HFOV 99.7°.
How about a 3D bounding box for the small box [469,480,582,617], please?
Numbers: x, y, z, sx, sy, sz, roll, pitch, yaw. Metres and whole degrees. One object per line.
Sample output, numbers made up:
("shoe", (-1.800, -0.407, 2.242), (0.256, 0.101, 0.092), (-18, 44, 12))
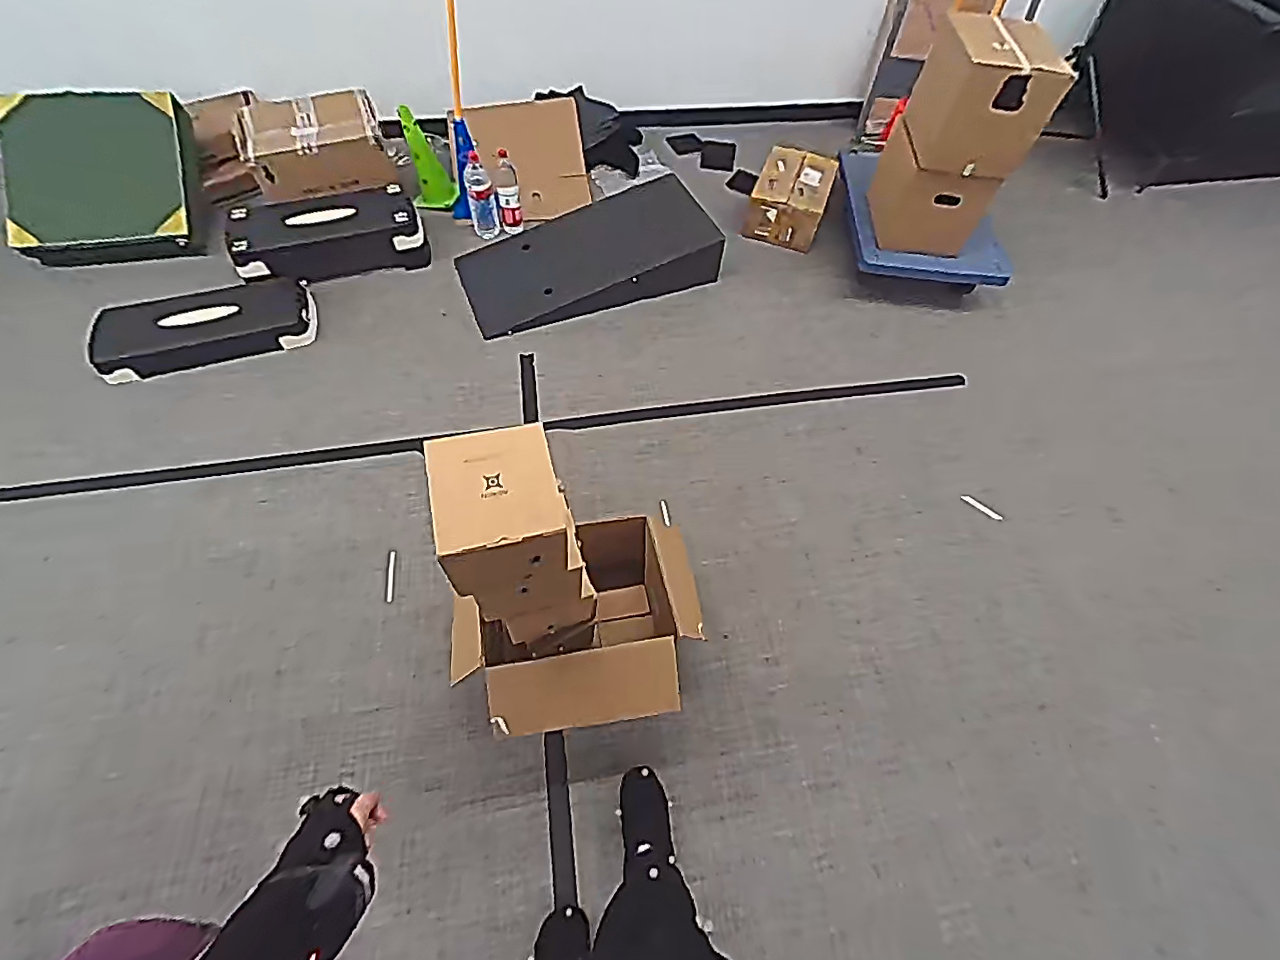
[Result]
("small box", (-0.201, 0.124, 0.933), (0.179, 0.176, 0.168), (-11, 64, -13))

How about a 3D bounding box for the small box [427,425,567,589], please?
("small box", (-0.201, 0.047, 0.788), (0.168, 0.176, 0.179), (-10, 63, -13))

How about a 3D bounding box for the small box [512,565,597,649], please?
("small box", (-0.212, 0.262, 1.233), (0.179, 0.176, 0.168), (-24, 66, -20))
